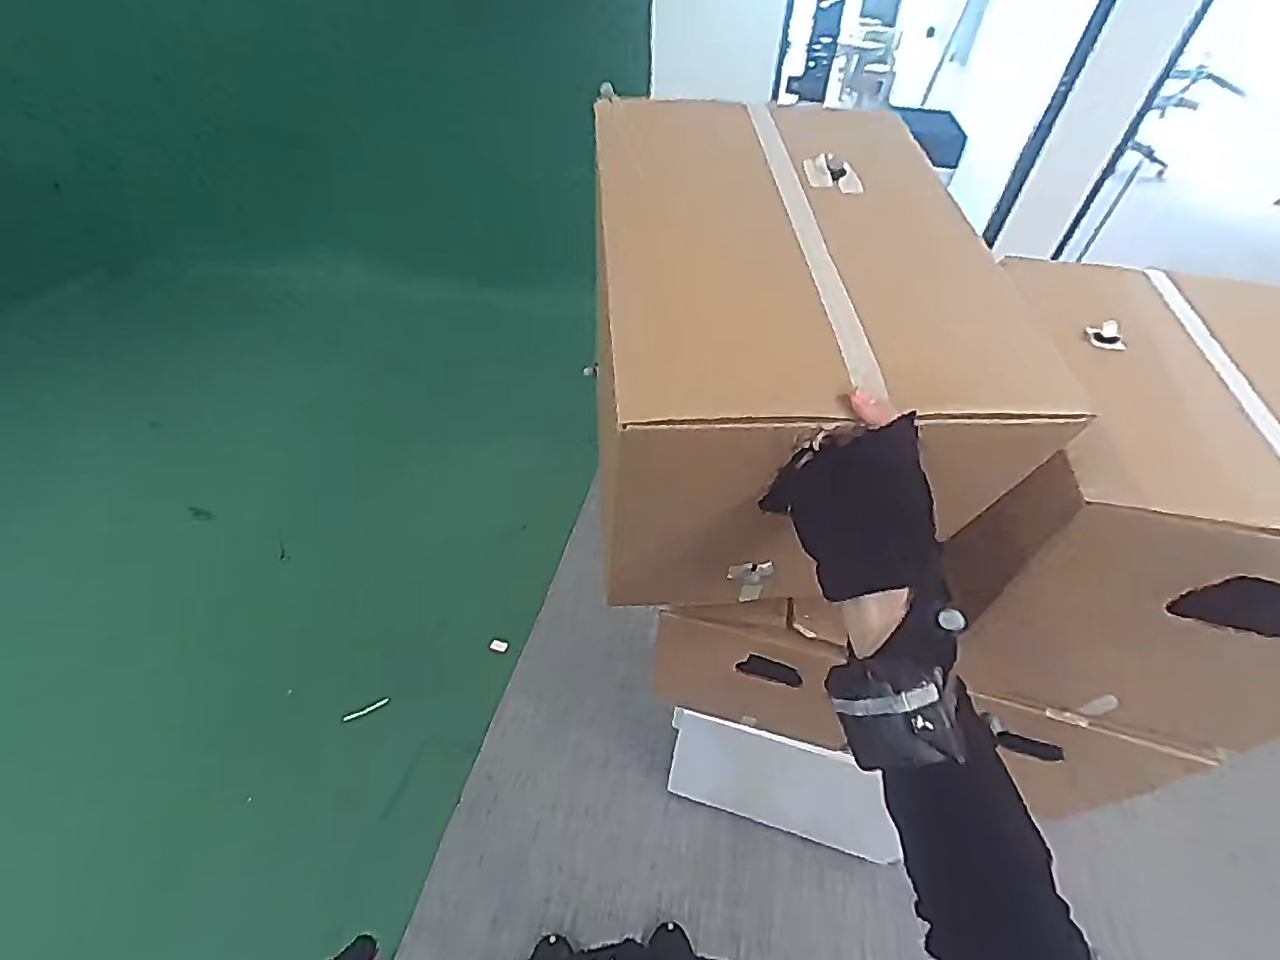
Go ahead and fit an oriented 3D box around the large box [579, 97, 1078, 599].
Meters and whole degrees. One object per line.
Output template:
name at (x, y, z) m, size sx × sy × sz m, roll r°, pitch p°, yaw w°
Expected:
large box at (0.106, -0.127, 0.562) m, size 0.320 × 0.320 × 0.408 m, roll -2°, pitch 58°, yaw -7°
